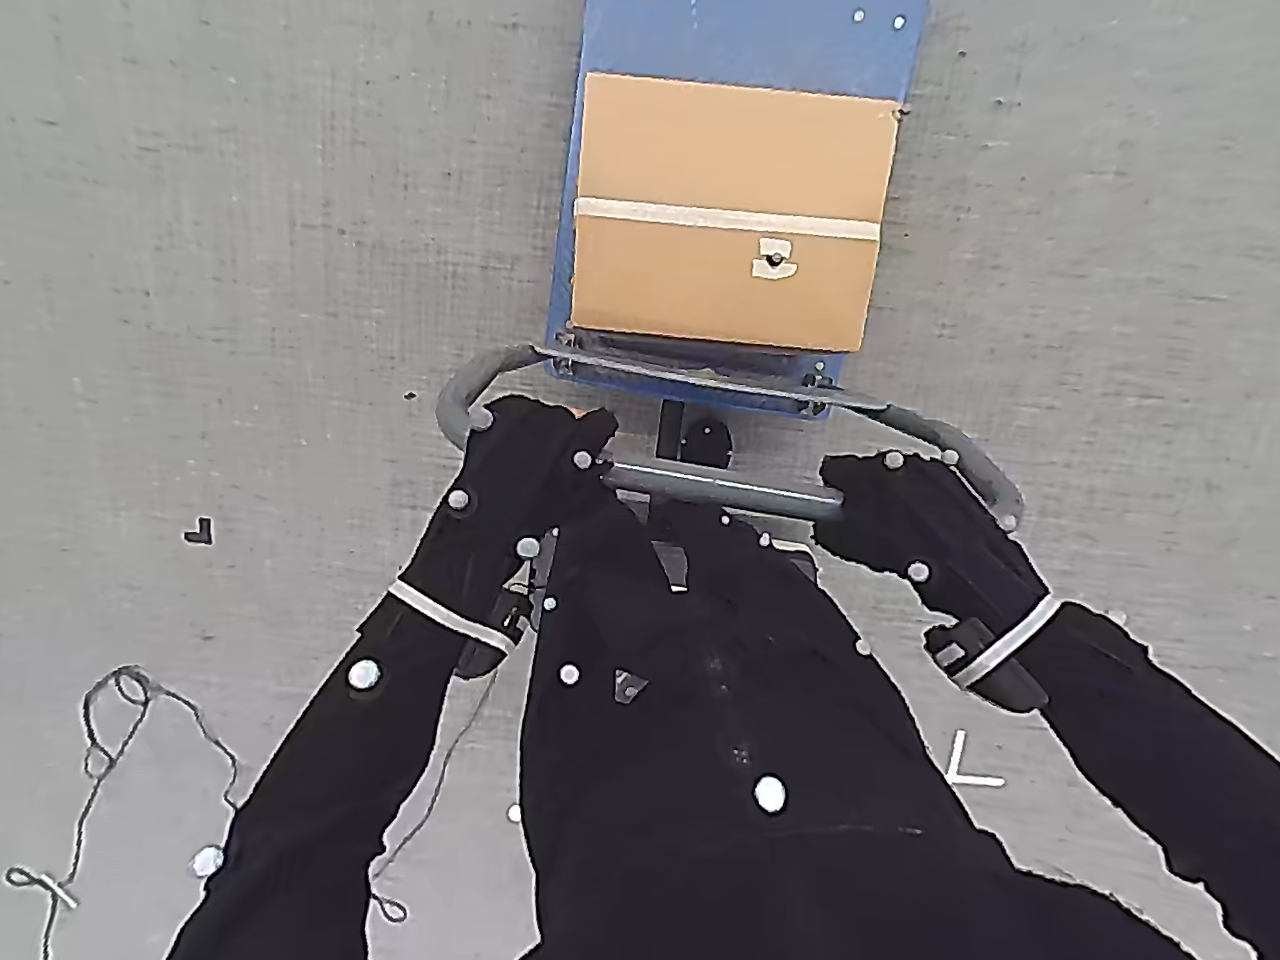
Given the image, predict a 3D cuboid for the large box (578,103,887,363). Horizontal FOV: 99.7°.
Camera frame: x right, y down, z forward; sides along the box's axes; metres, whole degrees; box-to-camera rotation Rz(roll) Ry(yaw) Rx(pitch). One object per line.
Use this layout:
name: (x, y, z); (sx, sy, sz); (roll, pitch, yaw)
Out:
large box: (0.118, -0.363, 0.887); (0.408, 0.320, 0.320); (5, 103, -1)
